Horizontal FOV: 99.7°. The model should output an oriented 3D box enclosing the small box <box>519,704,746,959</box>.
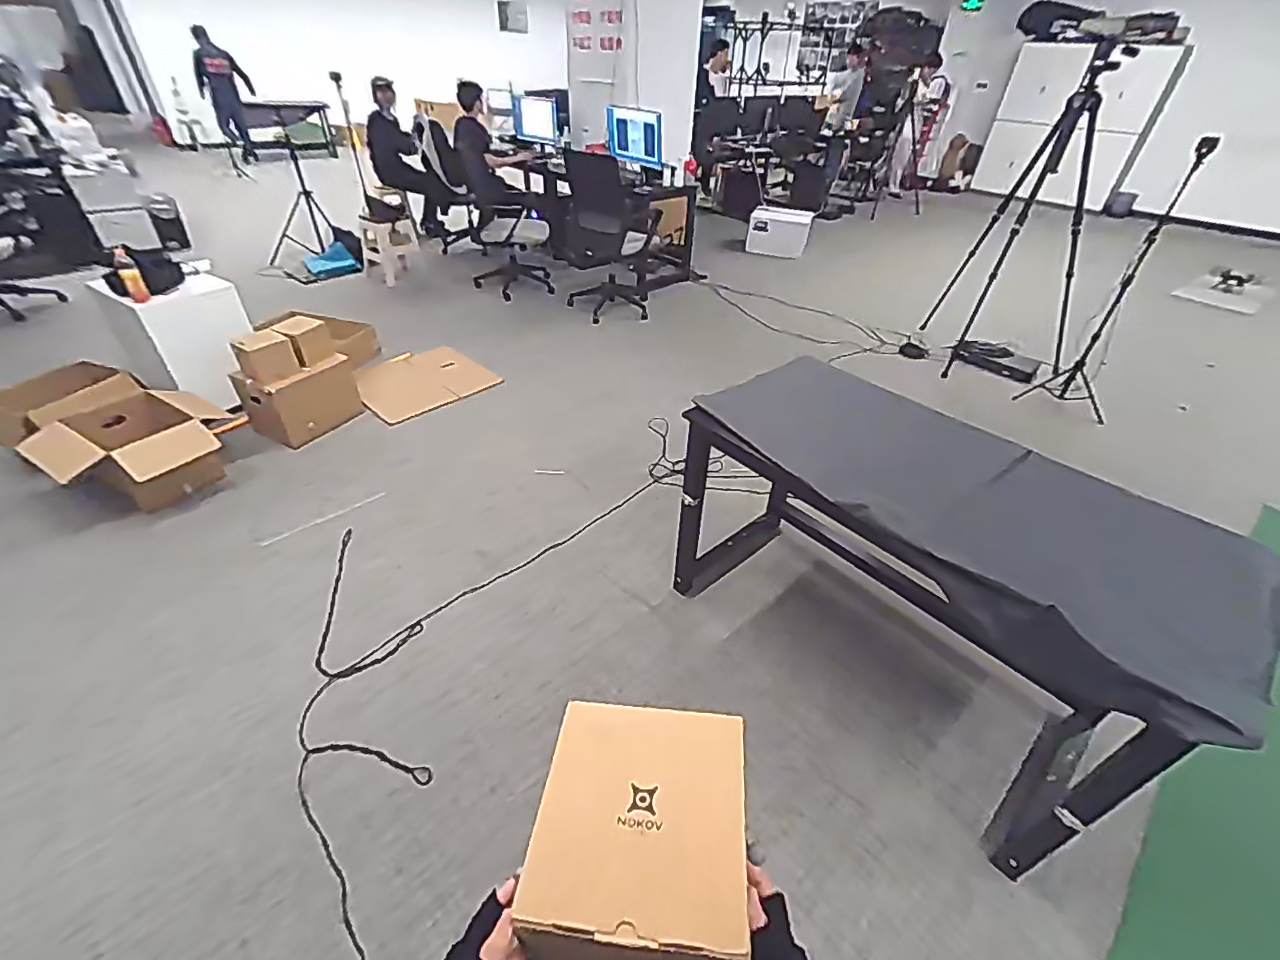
[{"bbox_3d":[0.006,0.337,0.490,0.168,0.176,0.179,2,35,8],"label":"small box"}]
